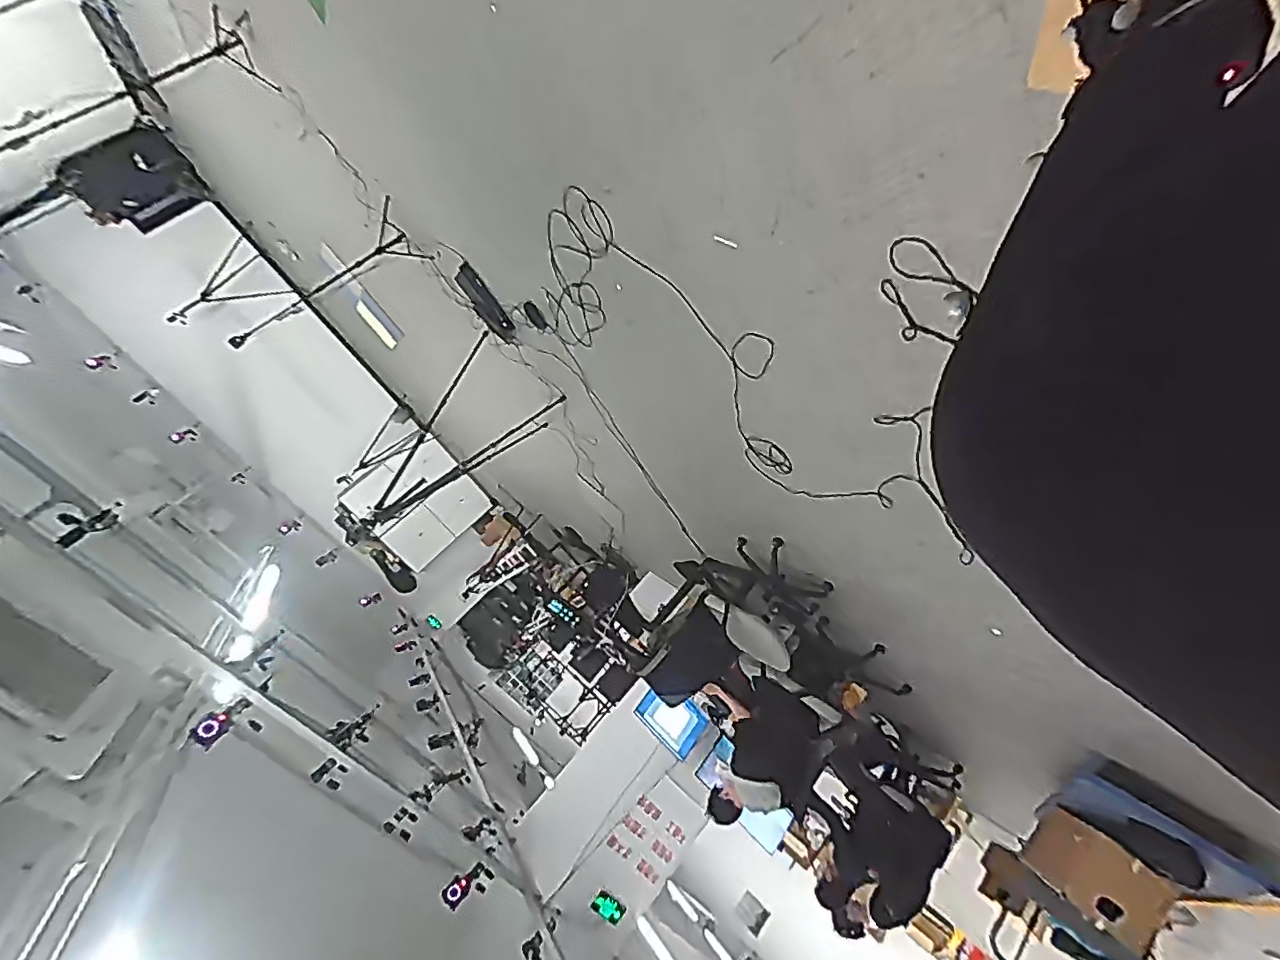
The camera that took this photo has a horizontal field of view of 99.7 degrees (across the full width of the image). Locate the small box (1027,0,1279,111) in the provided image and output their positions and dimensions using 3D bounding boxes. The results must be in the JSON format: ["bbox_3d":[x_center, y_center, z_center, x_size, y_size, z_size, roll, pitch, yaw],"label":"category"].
[{"bbox_3d":[0.502,-0.486,0.503,0.168,0.176,0.179,28,-162,25],"label":"small box"}]
